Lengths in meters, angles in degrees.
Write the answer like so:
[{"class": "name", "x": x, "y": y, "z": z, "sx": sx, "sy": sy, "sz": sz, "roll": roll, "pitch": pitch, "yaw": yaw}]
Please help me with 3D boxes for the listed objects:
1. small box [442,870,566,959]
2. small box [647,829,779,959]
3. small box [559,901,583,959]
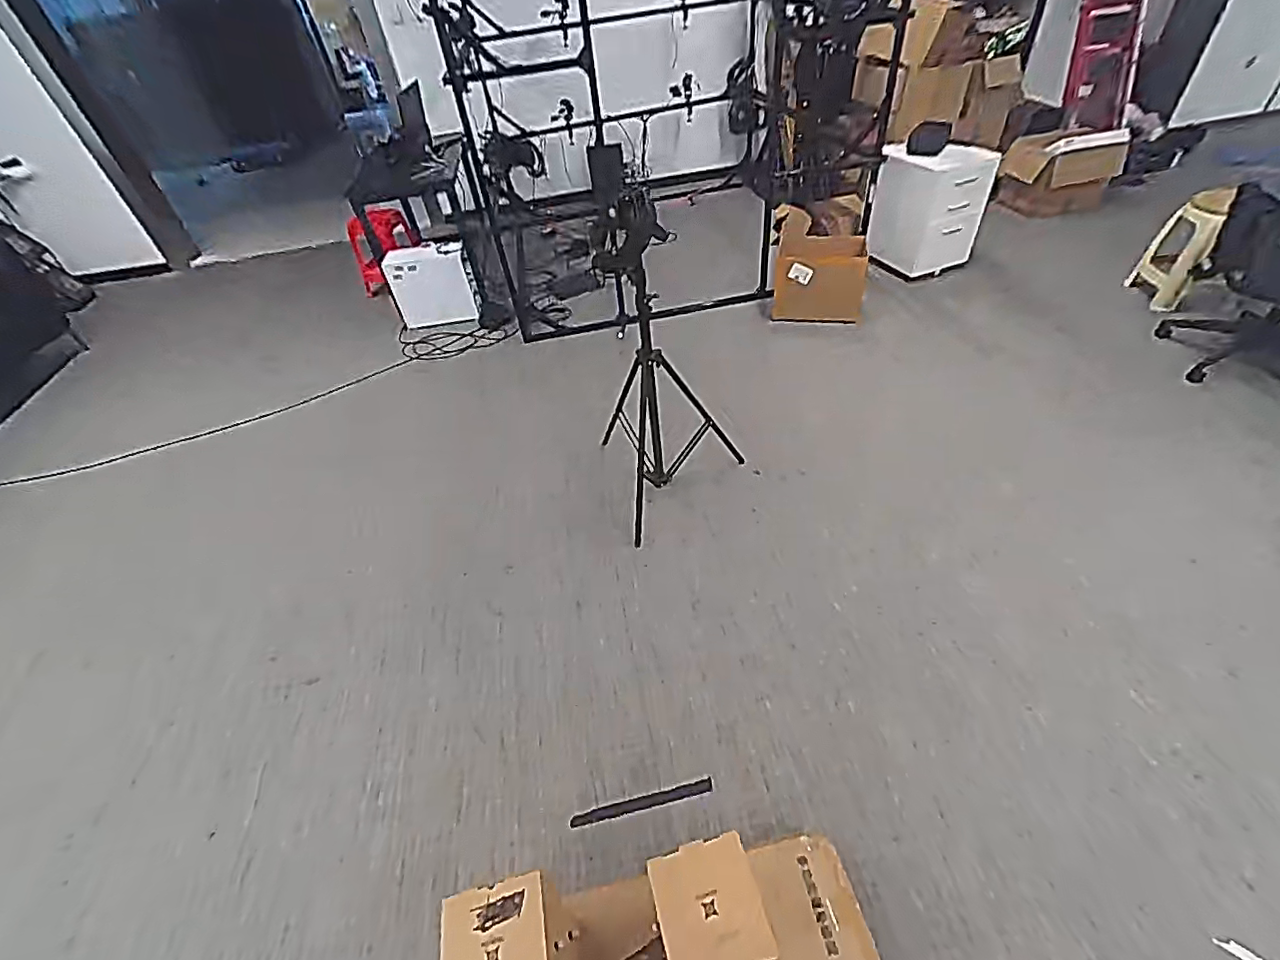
[{"class": "small box", "x": -0.219, "y": 0.787, "z": 0.893, "sx": 0.168, "sy": 0.176, "sz": 0.179, "roll": -13, "pitch": 43, "yaw": -6}, {"class": "small box", "x": 0.117, "y": 0.731, "z": 0.910, "sx": 0.168, "sy": 0.176, "sz": 0.179, "roll": -16, "pitch": 44, "yaw": -7}, {"class": "small box", "x": -0.198, "y": 0.916, "z": 0.993, "sx": 0.168, "sy": 0.176, "sz": 0.179, "roll": -12, "pitch": 43, "yaw": -4}]
